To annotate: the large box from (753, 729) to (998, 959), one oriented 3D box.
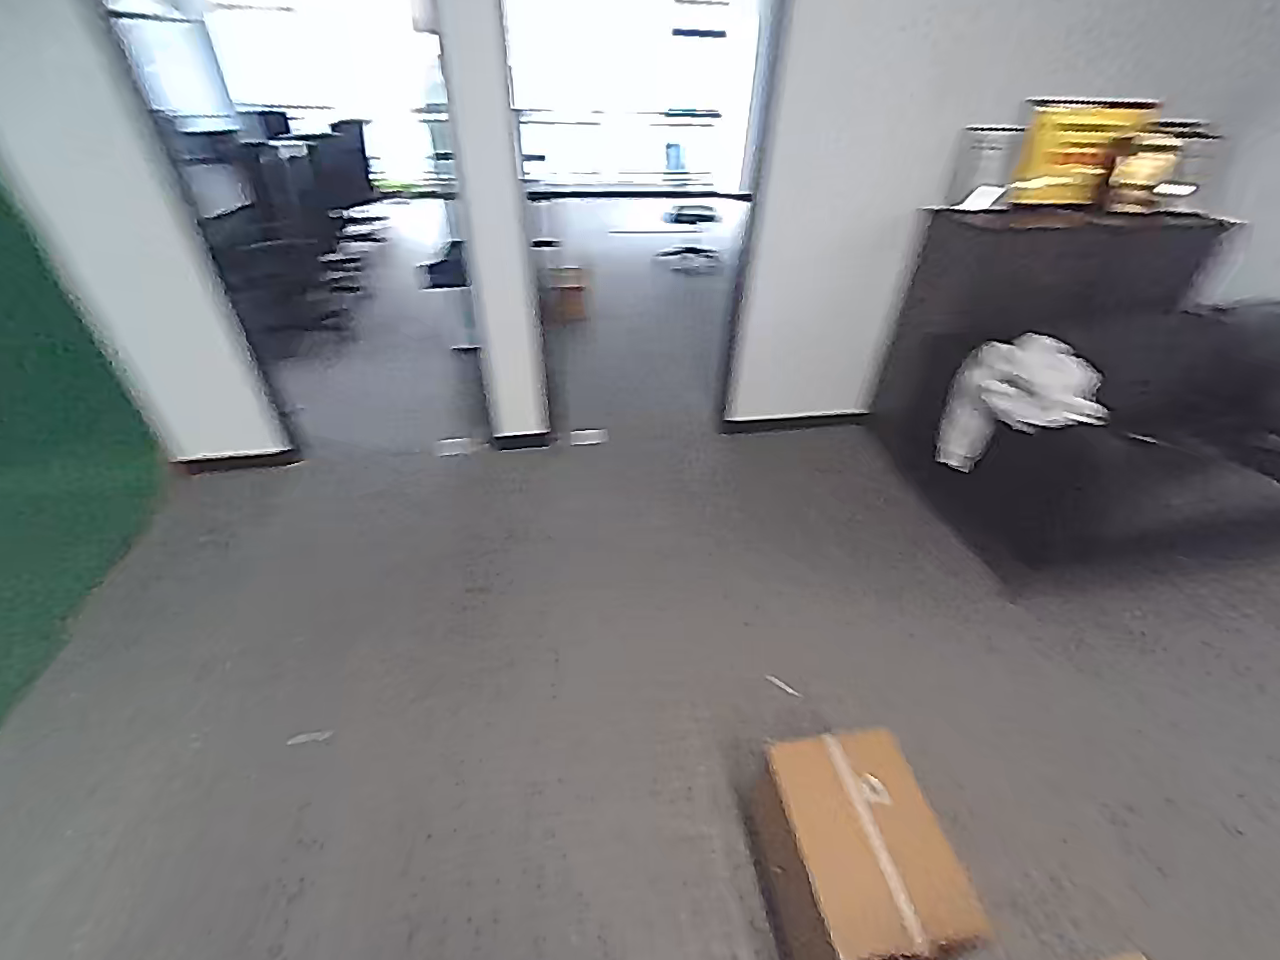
[{"bbox_3d":[0.476,0.845,1.208,0.320,0.320,0.408,-3,36,-7],"label":"large box"}]
